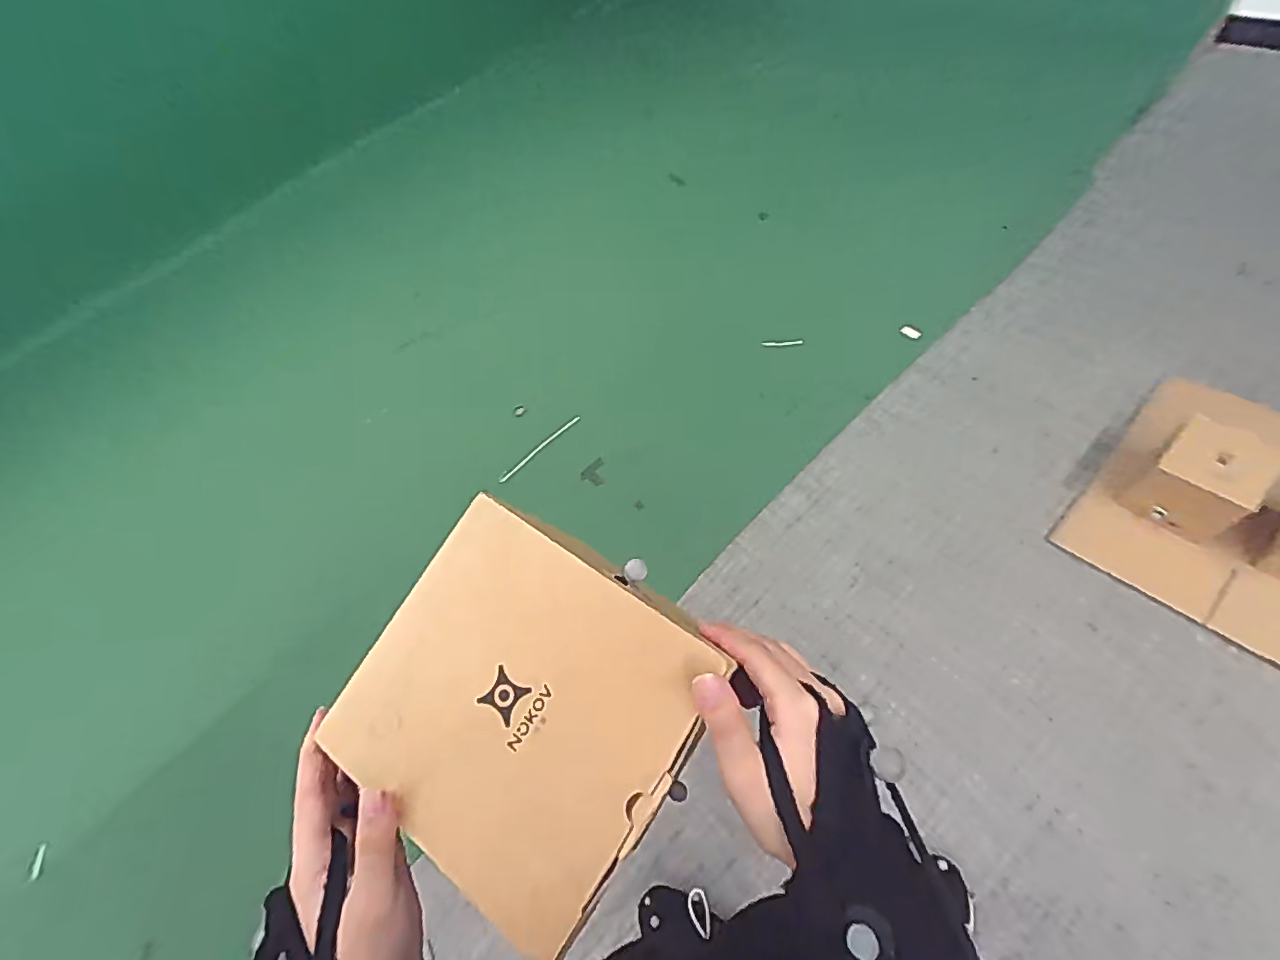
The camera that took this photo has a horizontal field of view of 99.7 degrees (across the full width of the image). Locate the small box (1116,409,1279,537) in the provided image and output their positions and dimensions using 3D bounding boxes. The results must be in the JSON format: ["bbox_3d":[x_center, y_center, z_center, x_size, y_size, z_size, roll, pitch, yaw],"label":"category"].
[{"bbox_3d":[1.185,-0.011,1.160,0.168,0.176,0.179,37,75,30],"label":"small box"}]
